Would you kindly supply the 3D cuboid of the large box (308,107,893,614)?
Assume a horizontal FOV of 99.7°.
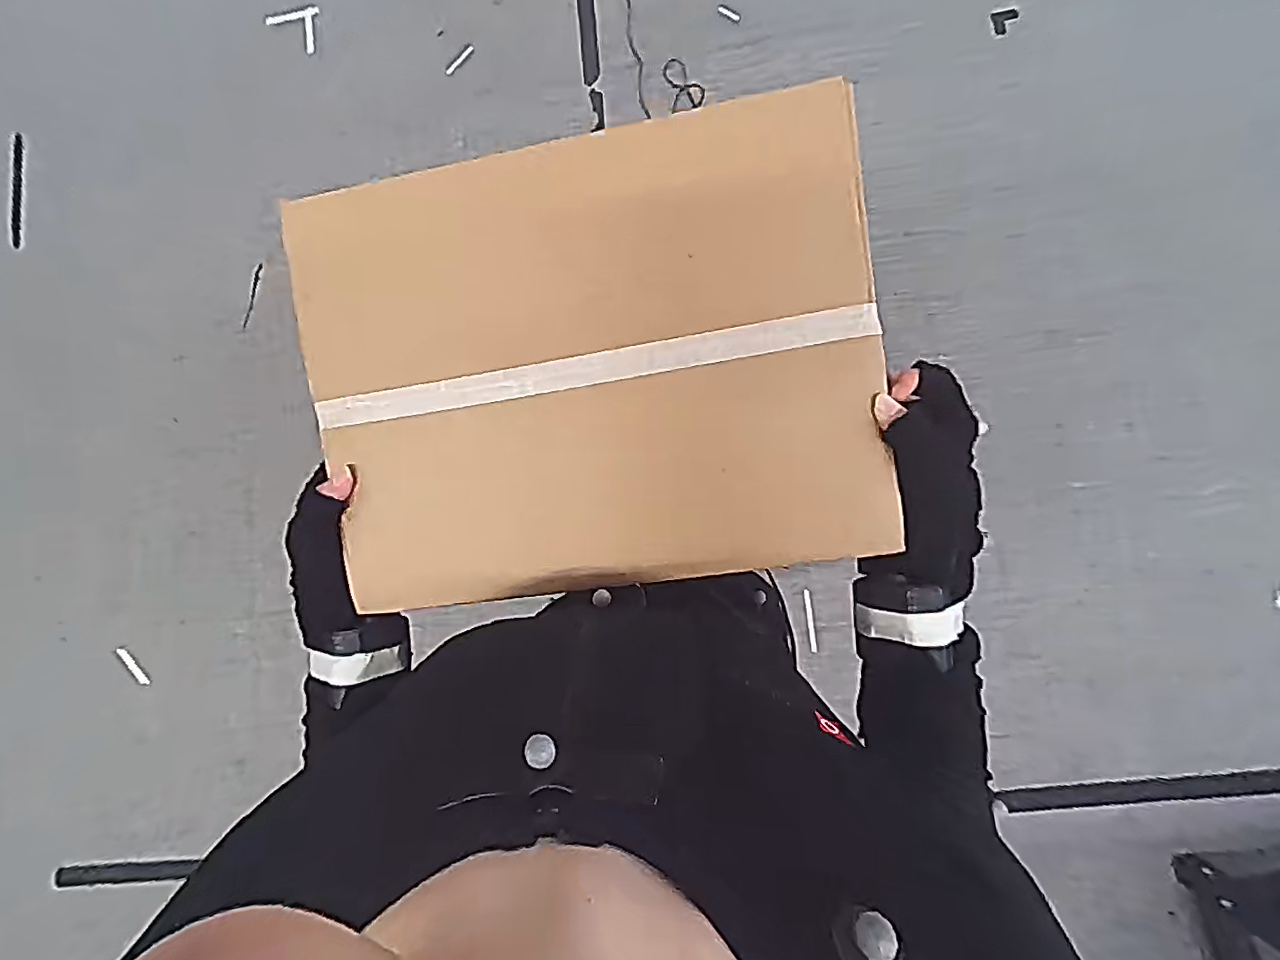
[{"bbox_3d":[-0.019,-0.084,0.541,0.408,0.320,0.320,-8,93,8],"label":"large box"}]
